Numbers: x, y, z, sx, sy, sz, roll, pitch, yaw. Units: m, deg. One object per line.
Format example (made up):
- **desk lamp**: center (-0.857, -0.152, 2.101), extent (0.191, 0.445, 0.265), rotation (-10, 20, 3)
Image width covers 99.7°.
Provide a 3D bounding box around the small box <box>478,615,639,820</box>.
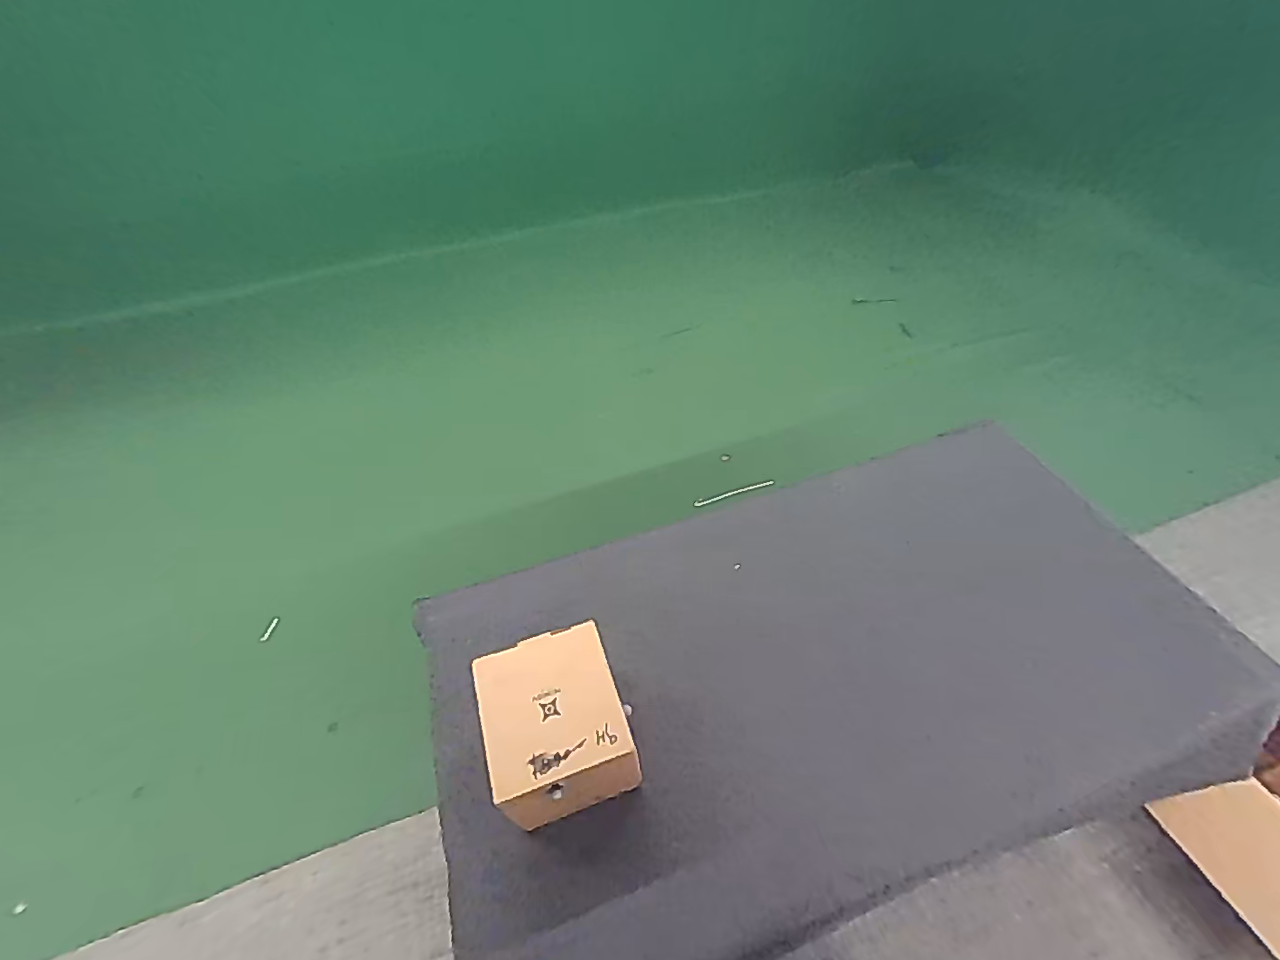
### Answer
- **small box**: center (-0.106, 0.315, 0.719), extent (0.168, 0.176, 0.179), rotation (-16, 49, -11)
